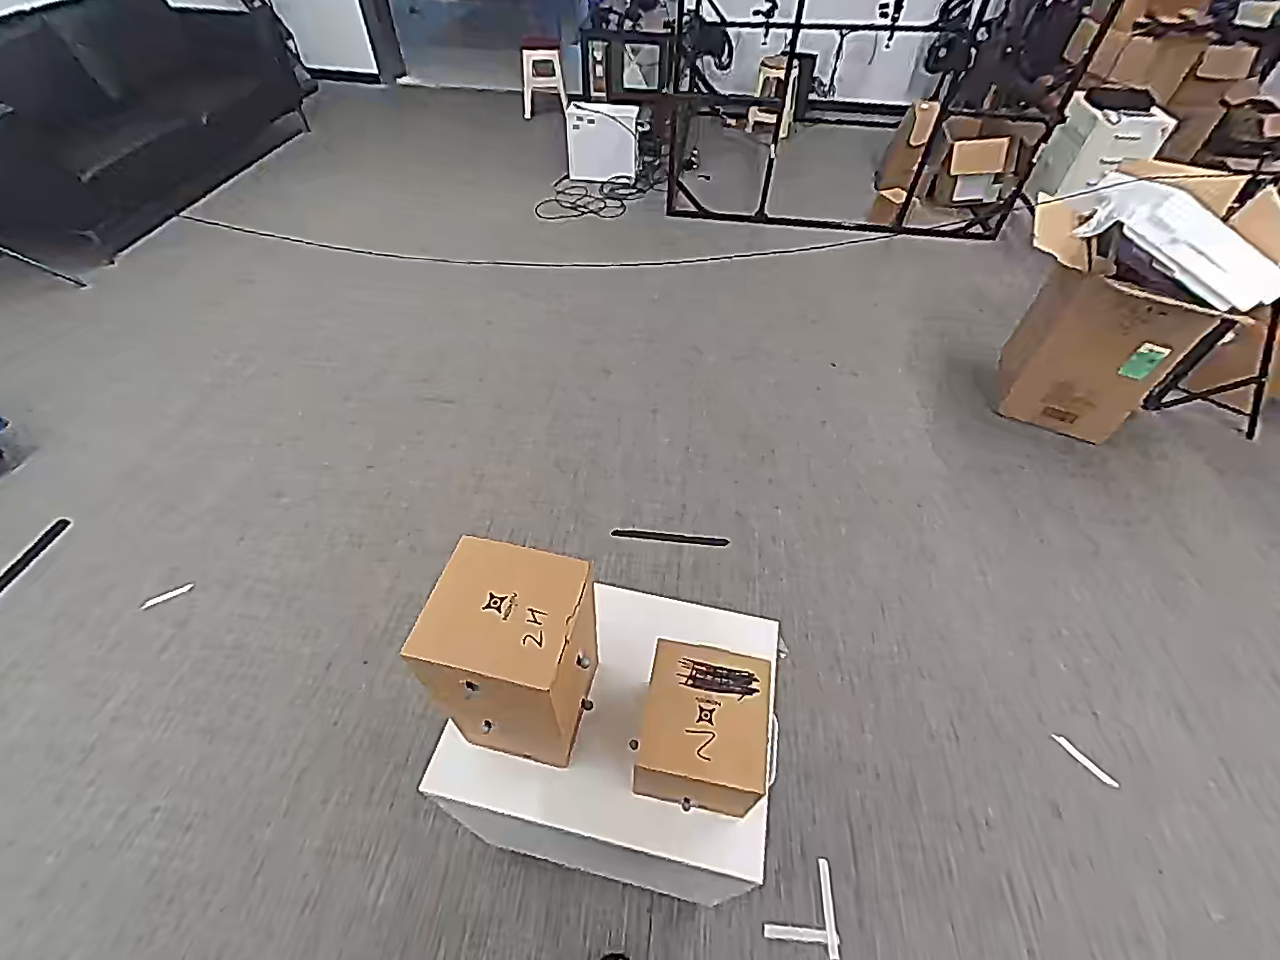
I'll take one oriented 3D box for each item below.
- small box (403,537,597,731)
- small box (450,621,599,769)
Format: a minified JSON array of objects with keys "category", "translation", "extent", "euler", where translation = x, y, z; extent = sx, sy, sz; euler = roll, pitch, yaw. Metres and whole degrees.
[{"category":"small box","translation":[-0.161,0.200,0.691],"extent":[0.179,0.176,0.168],"euler":[12,51,7]},{"category":"small box","translation":[-0.164,0.306,0.818],"extent":[0.168,0.176,0.179],"euler":[11,49,8]}]
